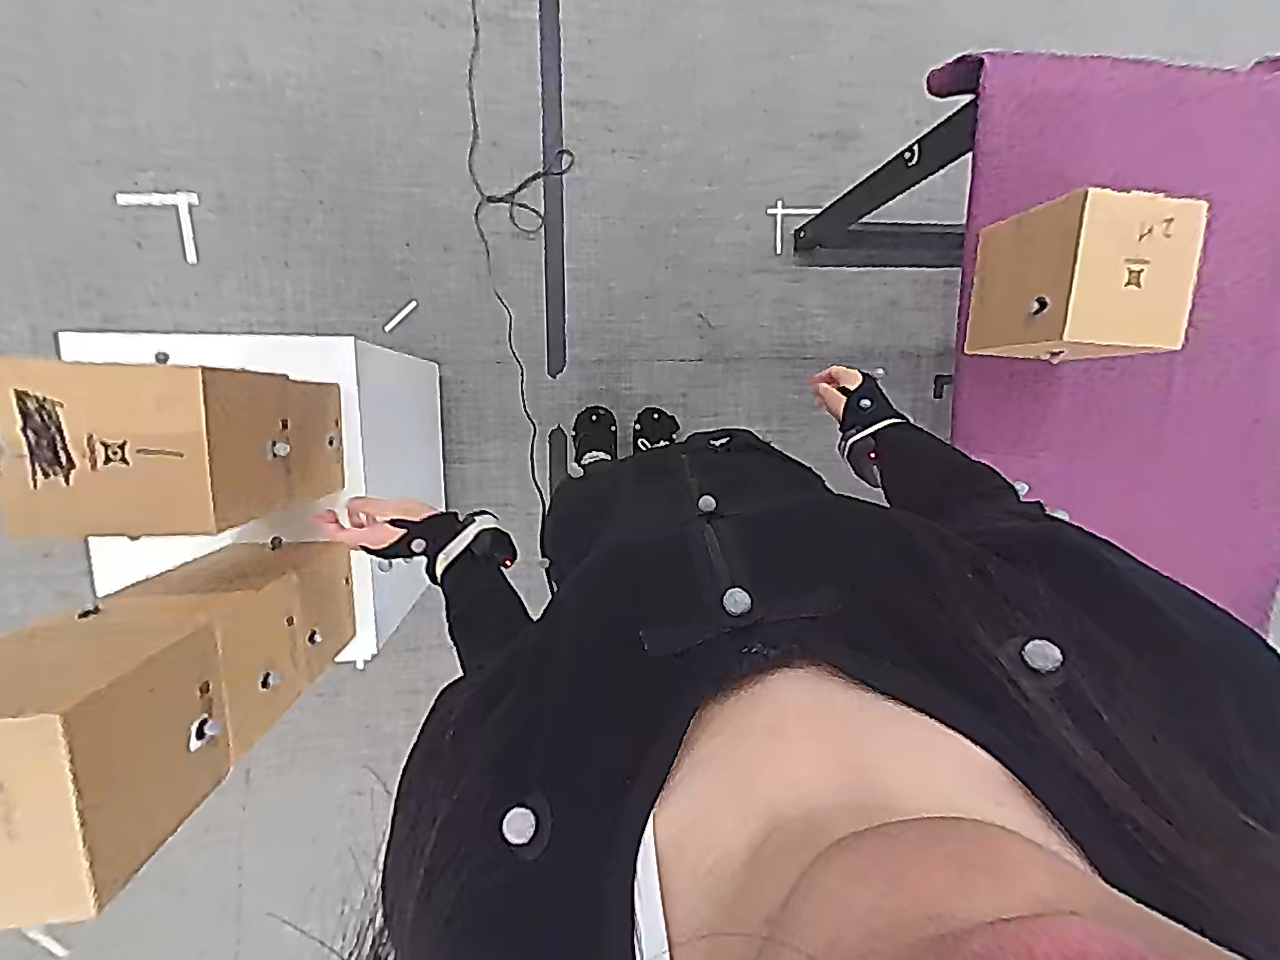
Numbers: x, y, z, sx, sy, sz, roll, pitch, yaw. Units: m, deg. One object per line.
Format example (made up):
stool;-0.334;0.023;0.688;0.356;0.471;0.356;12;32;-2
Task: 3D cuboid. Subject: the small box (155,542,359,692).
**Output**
small box;-0.529;0.188;0.771;0.179;0.176;0.168;-1;98;-6

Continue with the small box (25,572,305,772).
small box;-0.507;0.209;0.611;0.179;0.176;0.168;-2;98;-7

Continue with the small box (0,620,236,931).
small box;-0.488;0.229;0.451;0.179;0.176;0.168;-3;99;-7

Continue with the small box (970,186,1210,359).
small box;0.574;-0.258;0.715;0.168;0.176;0.179;2;98;-8
